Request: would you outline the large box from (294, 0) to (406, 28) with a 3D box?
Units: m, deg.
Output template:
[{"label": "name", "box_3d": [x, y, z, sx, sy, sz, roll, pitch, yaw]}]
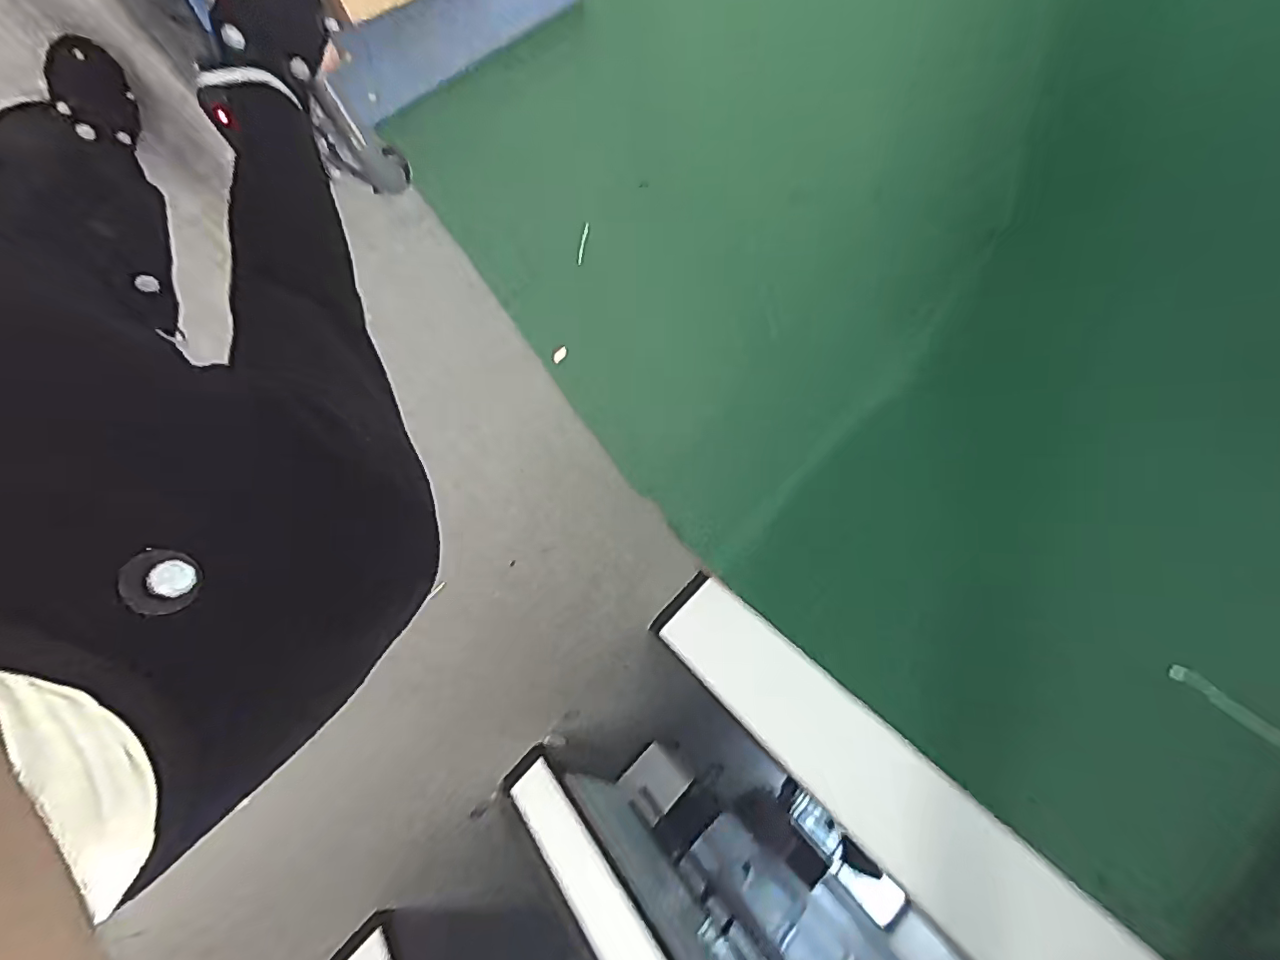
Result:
[{"label": "large box", "box_3d": [-0.419, -0.983, 0.847, 0.408, 0.320, 0.320, -40, 140, -15]}]
